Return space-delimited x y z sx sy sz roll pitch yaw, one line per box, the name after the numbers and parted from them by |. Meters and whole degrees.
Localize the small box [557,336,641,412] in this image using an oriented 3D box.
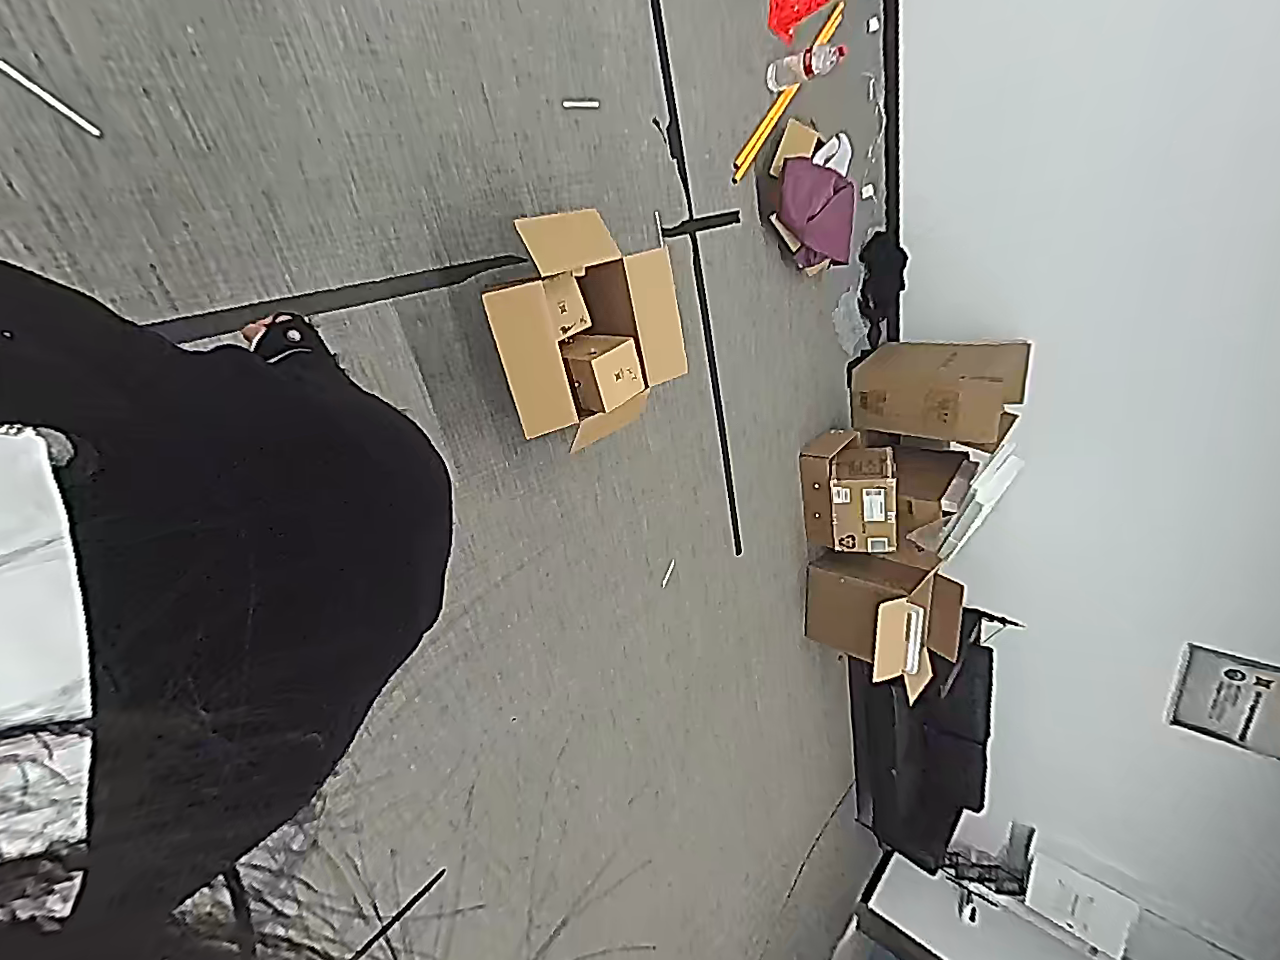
-0.128 -0.322 1.622 0.179 0.176 0.168 -38 128 -33 | small box
